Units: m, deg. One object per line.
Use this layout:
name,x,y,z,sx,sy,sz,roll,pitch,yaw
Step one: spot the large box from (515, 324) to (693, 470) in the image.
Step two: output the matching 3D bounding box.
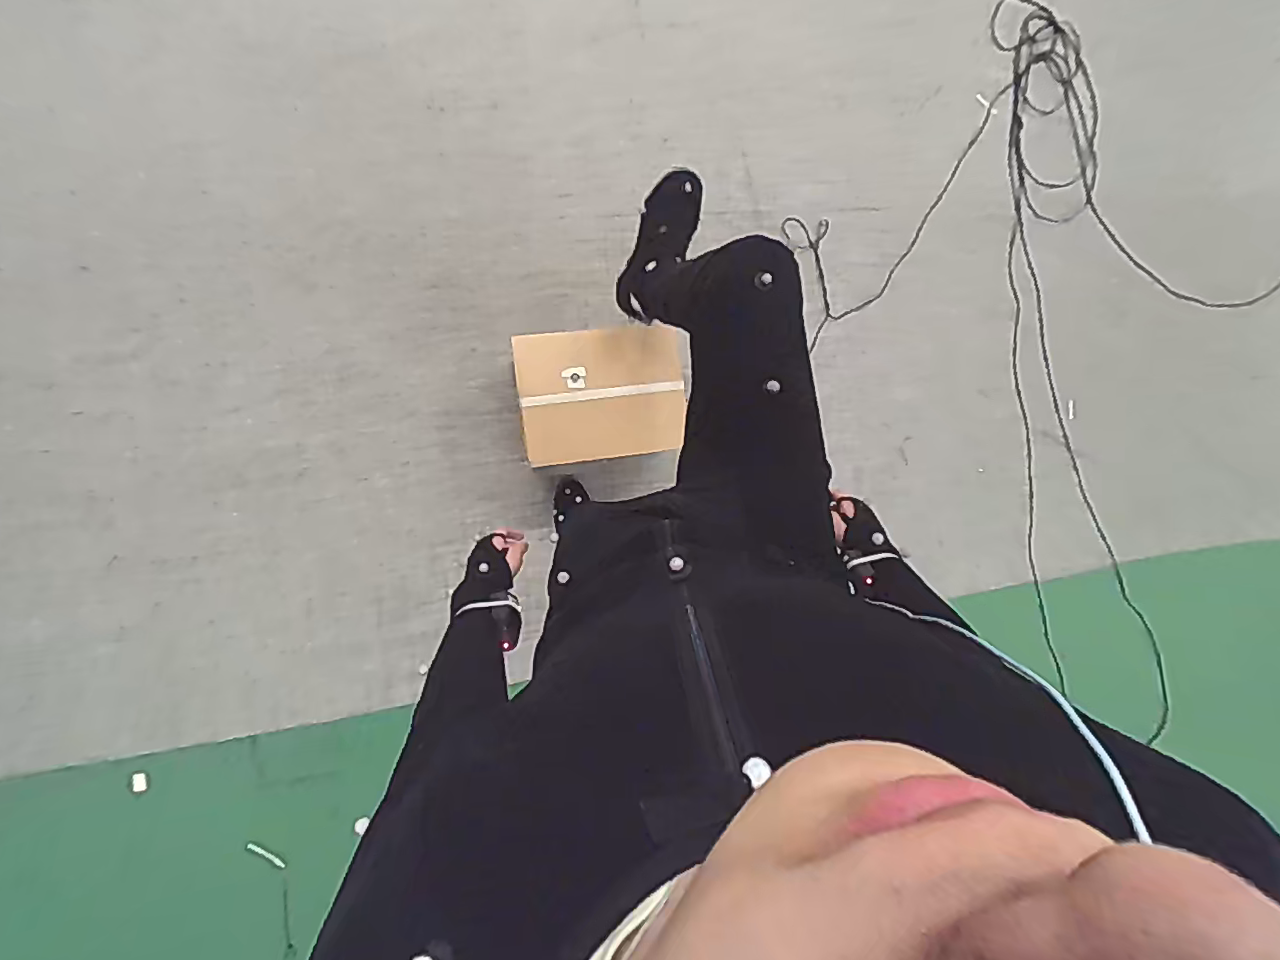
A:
large box,-0.107,-0.213,1.459,0.408,0.320,0.320,-9,93,-10
